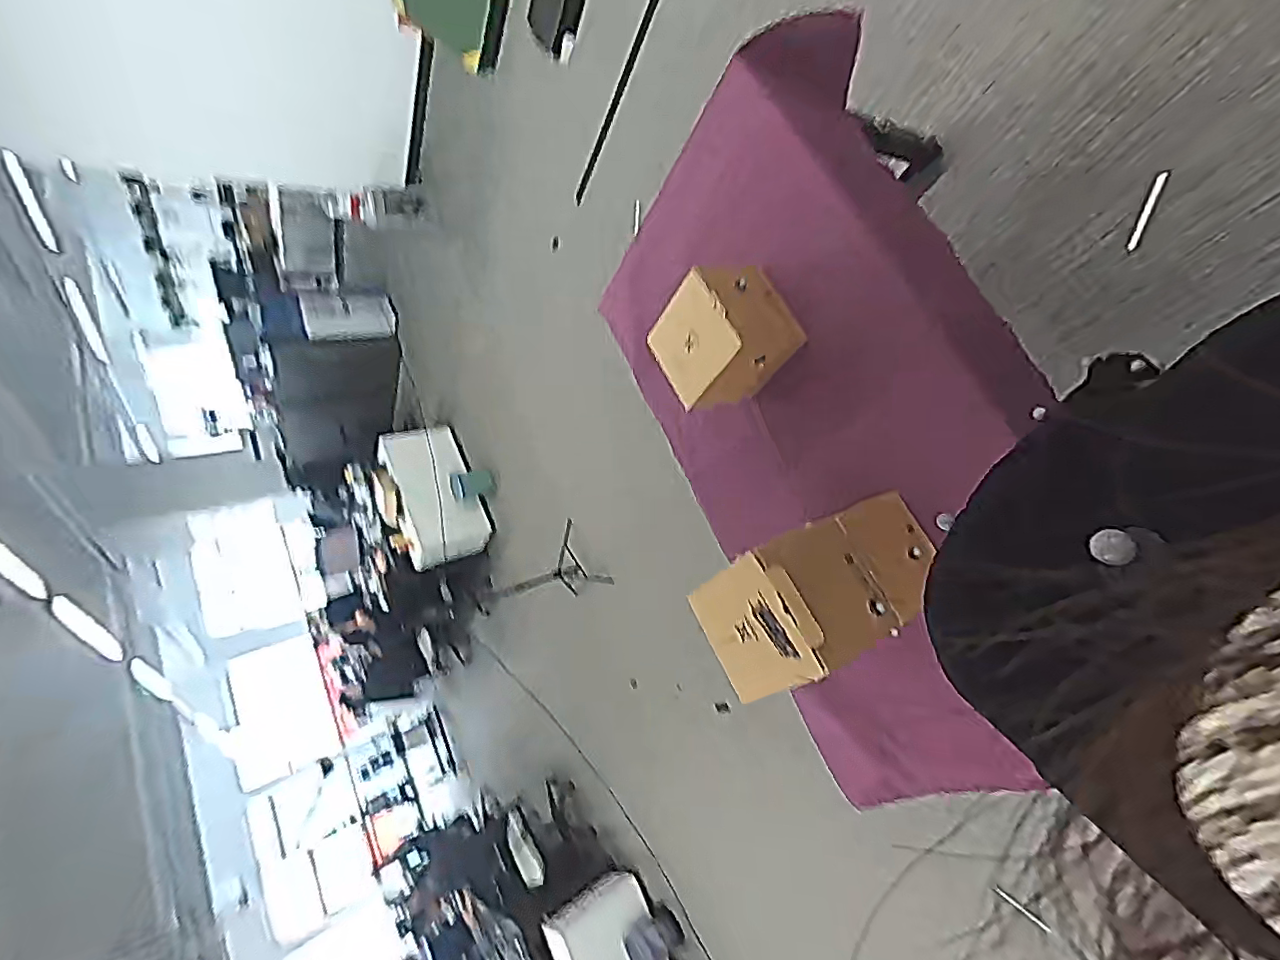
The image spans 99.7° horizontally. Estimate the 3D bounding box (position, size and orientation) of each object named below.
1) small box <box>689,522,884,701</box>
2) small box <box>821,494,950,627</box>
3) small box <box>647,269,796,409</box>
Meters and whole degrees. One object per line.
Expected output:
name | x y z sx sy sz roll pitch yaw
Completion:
small box | 0.206 0.179 0.753 0.168 0.176 0.179 62 143 19
small box | 0.336 0.143 0.847 0.168 0.176 0.179 62 142 18
small box | 0.149 -0.250 0.957 0.168 0.176 0.179 63 144 17
